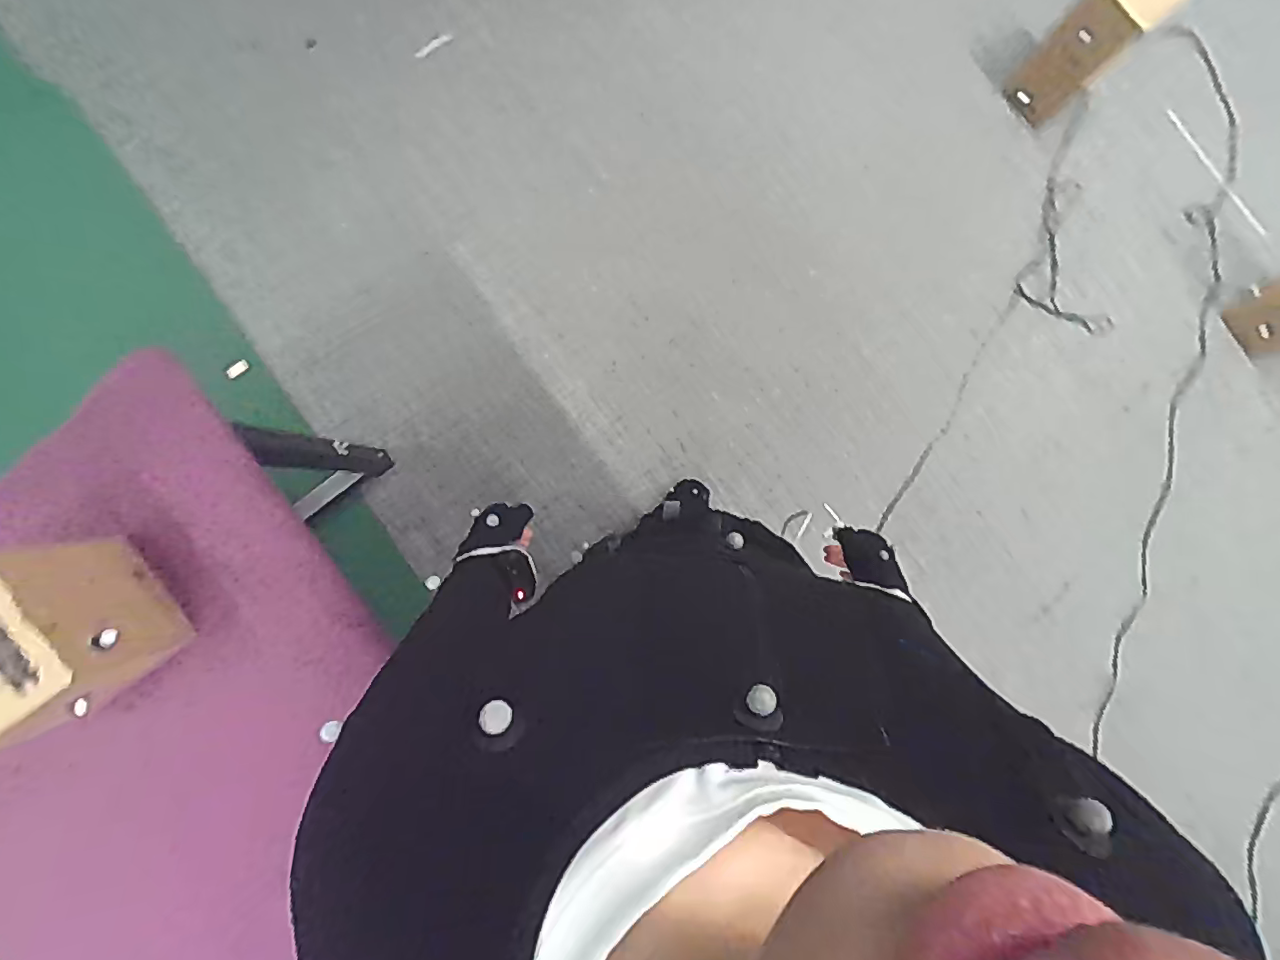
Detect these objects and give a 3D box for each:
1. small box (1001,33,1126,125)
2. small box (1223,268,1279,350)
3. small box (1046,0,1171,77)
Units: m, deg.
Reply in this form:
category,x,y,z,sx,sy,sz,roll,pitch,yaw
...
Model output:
category,x,y,z,sx,sy,sz,roll,pitch,yaw
small box,1.155,-1.140,1.489,0.179,0.176,0.168,-40,90,-2
small box,1.794,-0.485,1.498,0.179,0.176,0.168,-38,93,-1
small box,1.151,-1.151,1.325,0.179,0.176,0.168,-40,90,-3
